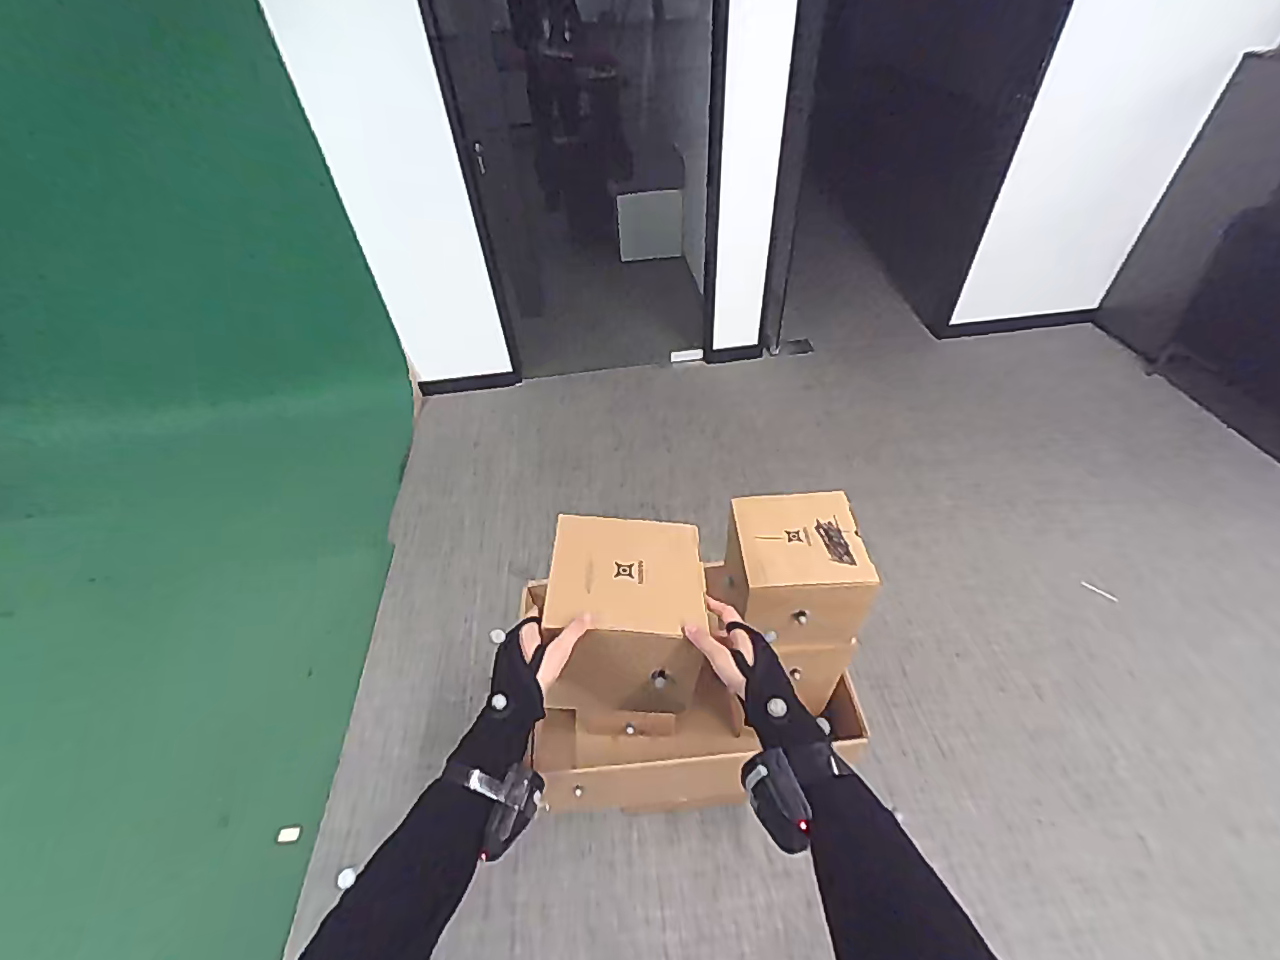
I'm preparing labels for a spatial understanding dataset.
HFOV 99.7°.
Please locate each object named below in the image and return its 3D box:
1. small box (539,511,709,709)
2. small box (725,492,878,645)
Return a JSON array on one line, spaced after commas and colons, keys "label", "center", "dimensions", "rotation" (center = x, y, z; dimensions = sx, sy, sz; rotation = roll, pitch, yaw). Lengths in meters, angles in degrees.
[{"label": "small box", "center": [-0.022, 0.160, 0.656], "dimensions": [0.179, 0.176, 0.168], "rotation": [5, 40, -3]}, {"label": "small box", "center": [0.230, 0.137, 0.823], "dimensions": [0.179, 0.176, 0.168], "rotation": [-4, 45, 2]}]
